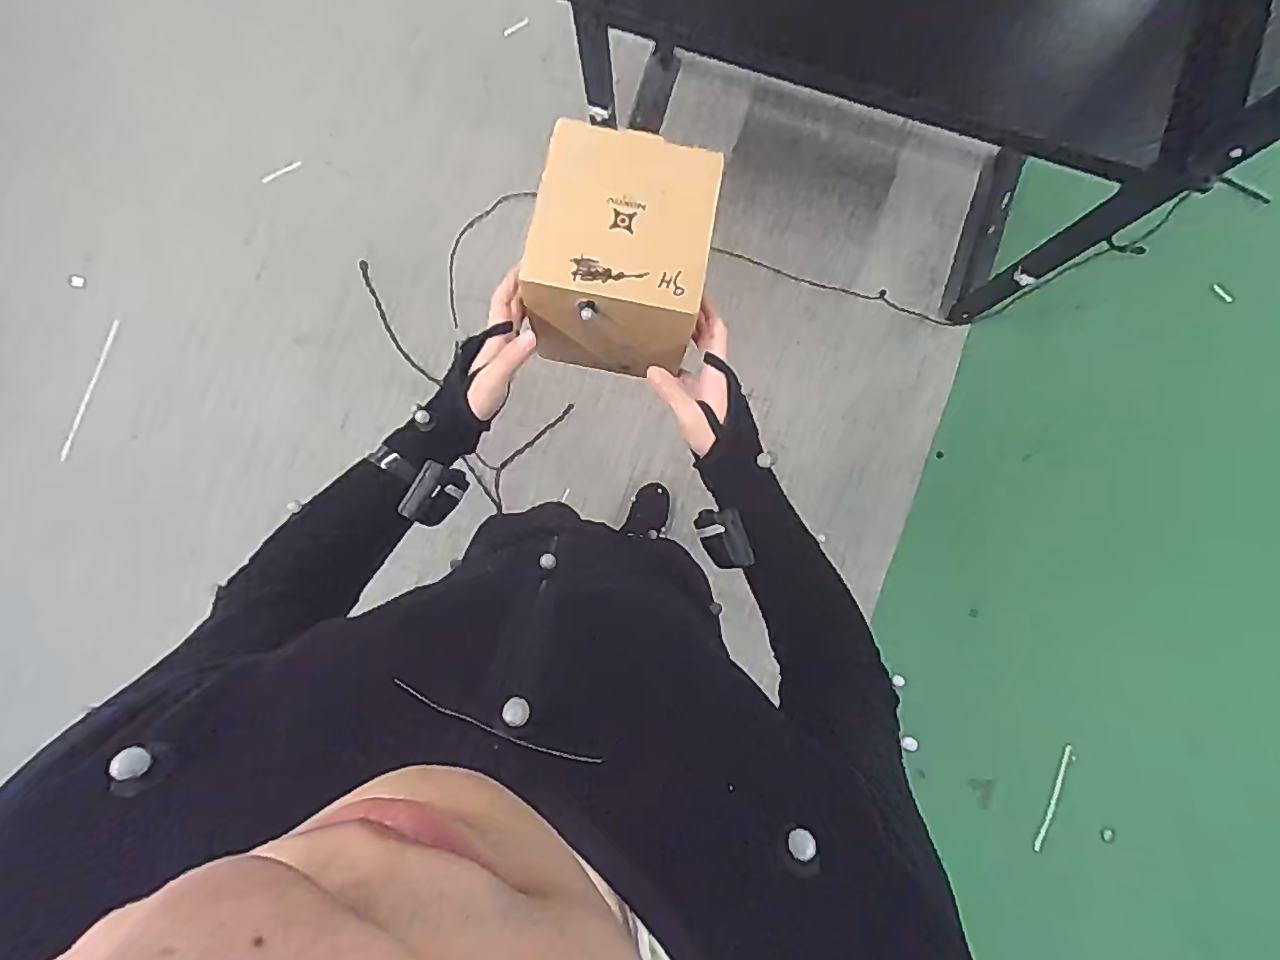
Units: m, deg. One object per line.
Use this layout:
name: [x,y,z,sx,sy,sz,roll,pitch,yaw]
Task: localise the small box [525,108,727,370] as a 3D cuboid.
small box: [-0.015,-0.242,0.579,0.168,0.176,0.179,10,78,-1]
